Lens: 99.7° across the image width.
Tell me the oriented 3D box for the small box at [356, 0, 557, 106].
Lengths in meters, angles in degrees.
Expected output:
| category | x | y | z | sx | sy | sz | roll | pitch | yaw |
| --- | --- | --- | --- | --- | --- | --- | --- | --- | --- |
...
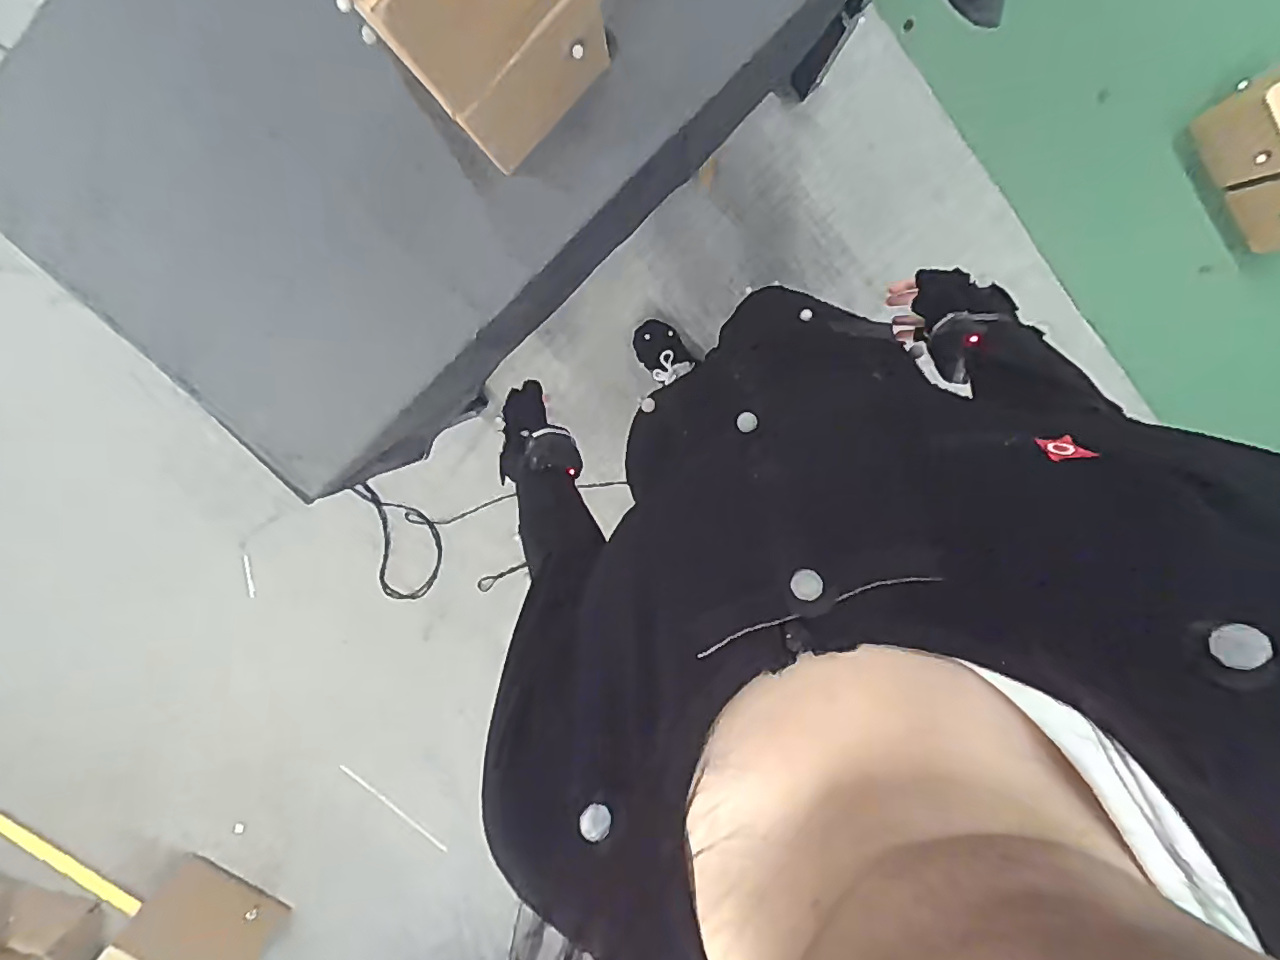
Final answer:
| category | x | y | z | sx | sy | sz | roll | pitch | yaw |
| --- | --- | --- | --- | --- | --- | --- | --- | --- | --- |
| small box | -0.161 | -0.436 | 0.399 | 0.179 | 0.176 | 0.168 | -42 | 99 | 11 |
